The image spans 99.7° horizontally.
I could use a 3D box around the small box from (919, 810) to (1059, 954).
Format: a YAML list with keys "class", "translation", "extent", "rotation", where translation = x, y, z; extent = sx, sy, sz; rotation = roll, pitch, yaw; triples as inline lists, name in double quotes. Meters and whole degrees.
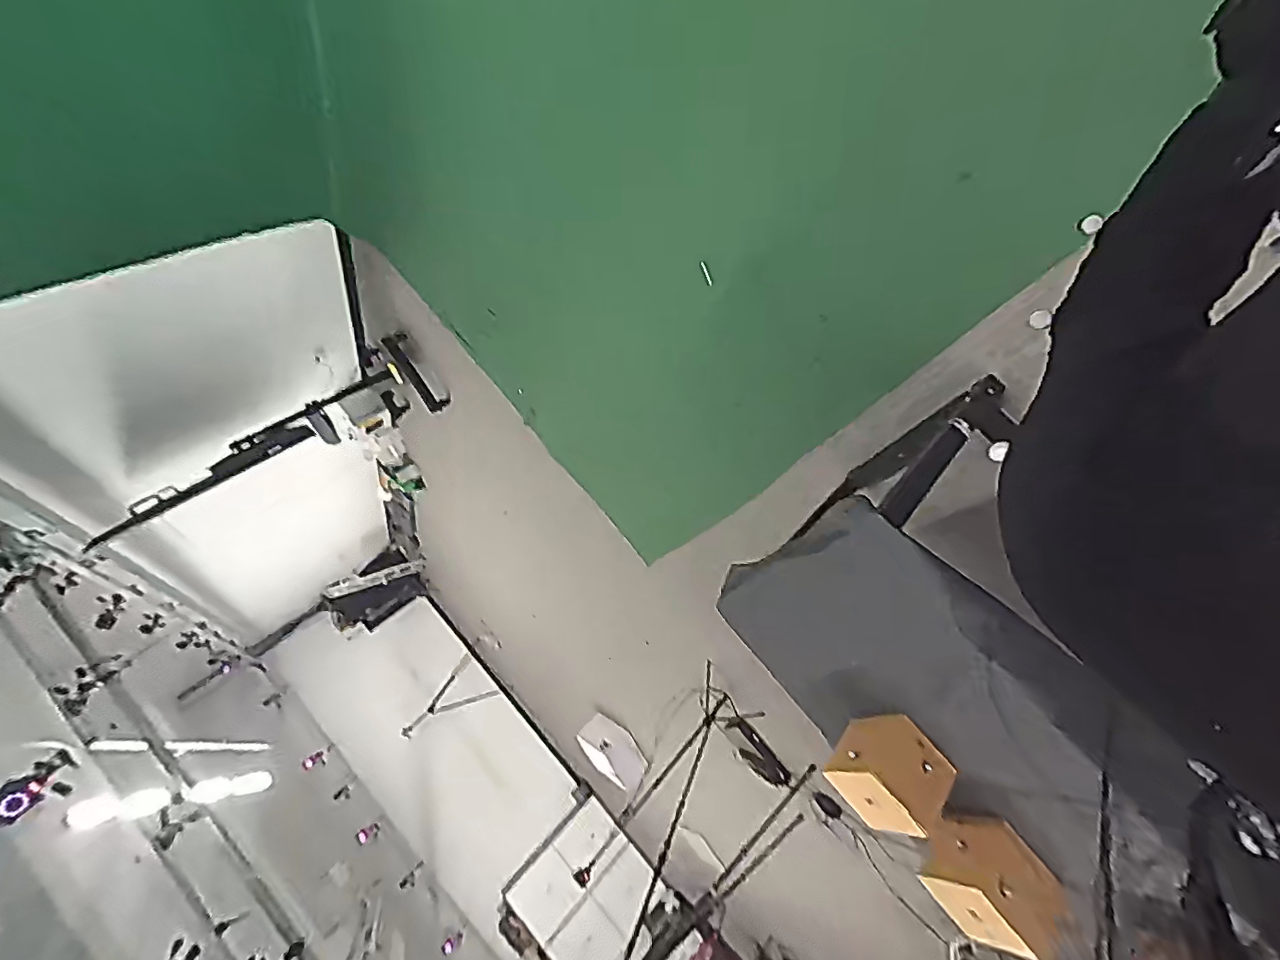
- class: "small box"
  translation: [0.759, 0.857, 1.177]
  extent: [0.179, 0.176, 0.168]
  rotation: [49, 147, 5]

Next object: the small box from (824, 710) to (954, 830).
- class: "small box"
  translation: [0.564, 0.649, 1.225]
  extent: [0.168, 0.176, 0.179]
  rotation: [48, 147, 7]

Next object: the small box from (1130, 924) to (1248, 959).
- class: "small box"
  translation: [1.006, 0.941, 0.951]
  extent: [0.179, 0.176, 0.168]
  rotation: [48, 148, 6]
